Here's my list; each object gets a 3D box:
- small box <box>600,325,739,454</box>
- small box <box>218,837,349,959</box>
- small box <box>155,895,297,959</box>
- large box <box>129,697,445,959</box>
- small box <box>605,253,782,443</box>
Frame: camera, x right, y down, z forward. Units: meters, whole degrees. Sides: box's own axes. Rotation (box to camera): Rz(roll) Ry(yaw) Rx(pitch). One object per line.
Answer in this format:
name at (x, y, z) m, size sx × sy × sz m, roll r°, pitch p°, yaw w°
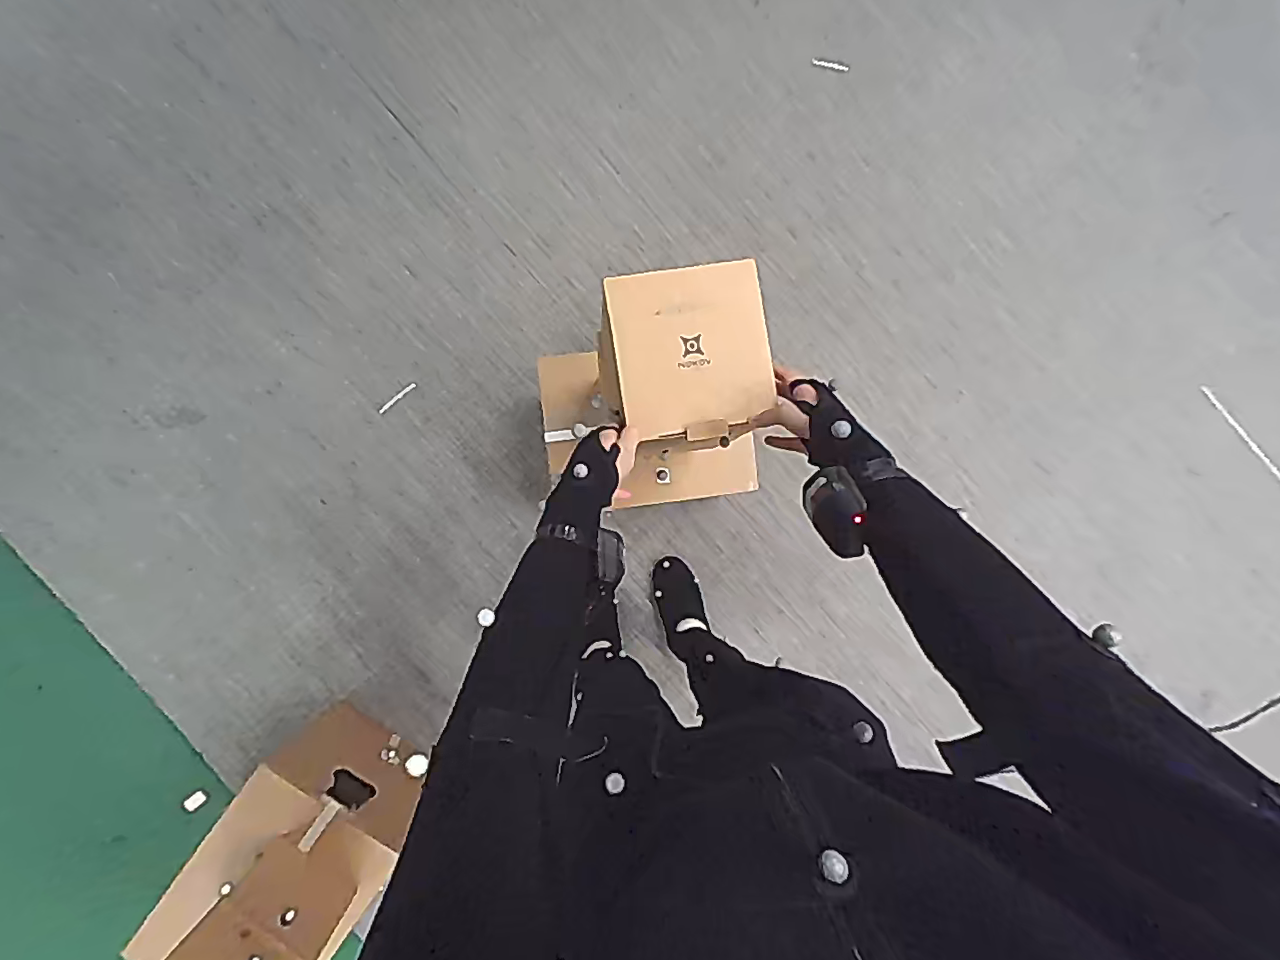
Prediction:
small box at (0.034, -0.132, 0.801) m, size 0.179 × 0.176 × 0.168 m, roll -6°, pitch 89°, yaw -4°
small box at (-0.621, 0.736, 0.879) m, size 0.179 × 0.176 × 0.168 m, roll 41°, pitch 85°, yaw -2°
small box at (-0.611, 0.723, 0.718) m, size 0.168 × 0.176 × 0.179 m, roll 42°, pitch 85°, yaw -2°
large box at (-0.680, 0.748, 1.120) m, size 0.320 × 0.320 × 0.408 m, roll 35°, pitch 87°, yaw -1°
small box at (0.052, -0.141, 0.640) m, size 0.168 × 0.176 × 0.179 m, roll -9°, pitch 89°, yaw -5°
